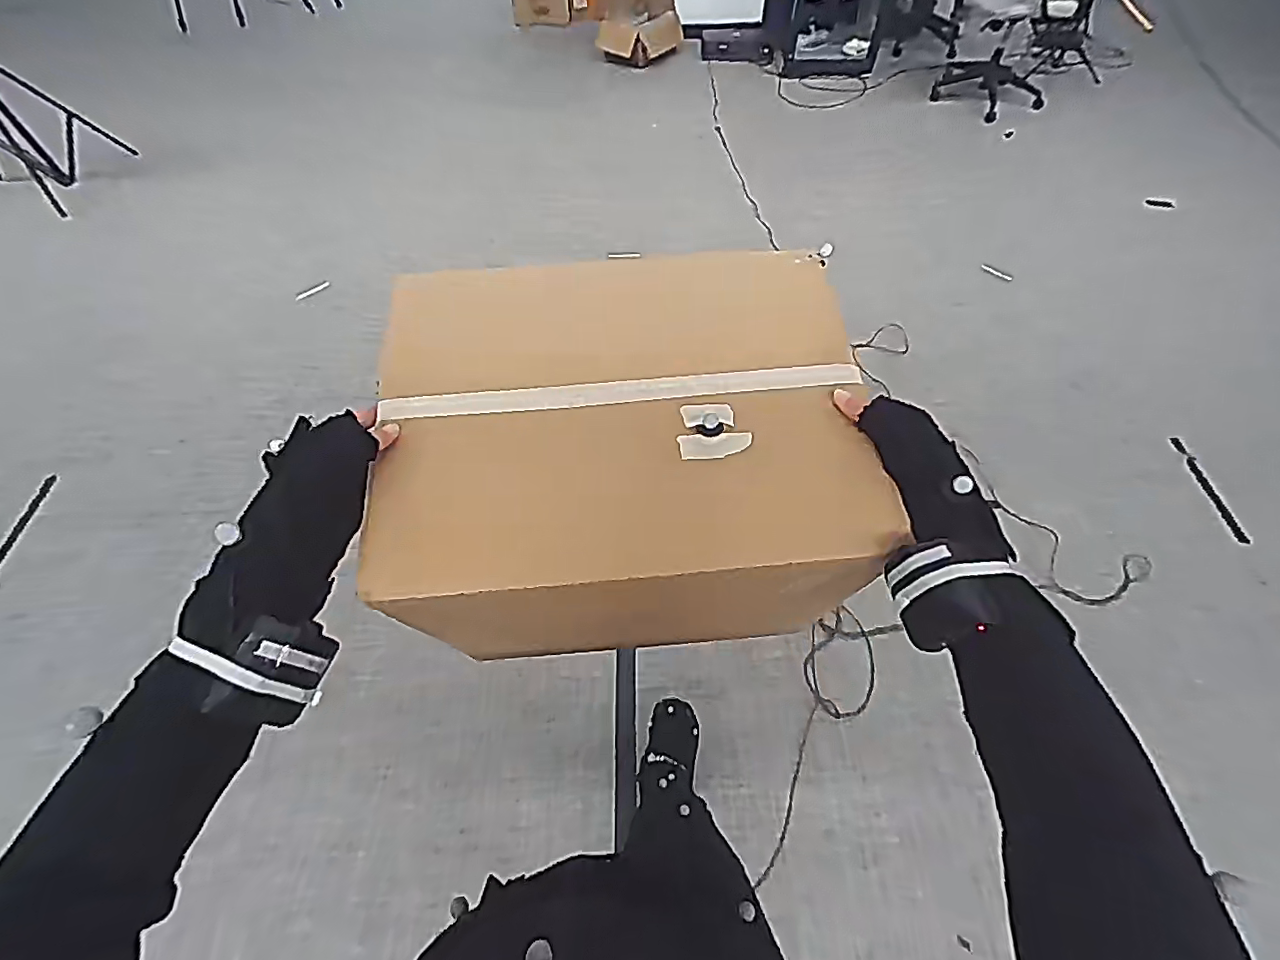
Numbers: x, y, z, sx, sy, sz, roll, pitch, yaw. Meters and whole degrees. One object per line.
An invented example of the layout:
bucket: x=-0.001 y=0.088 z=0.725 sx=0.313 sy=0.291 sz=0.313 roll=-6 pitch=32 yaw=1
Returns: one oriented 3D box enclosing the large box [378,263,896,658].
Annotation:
large box: x=-0.014 y=-0.002 z=0.604 sx=0.408 sy=0.320 sz=0.320 roll=-4 pitch=64 yaw=-3
